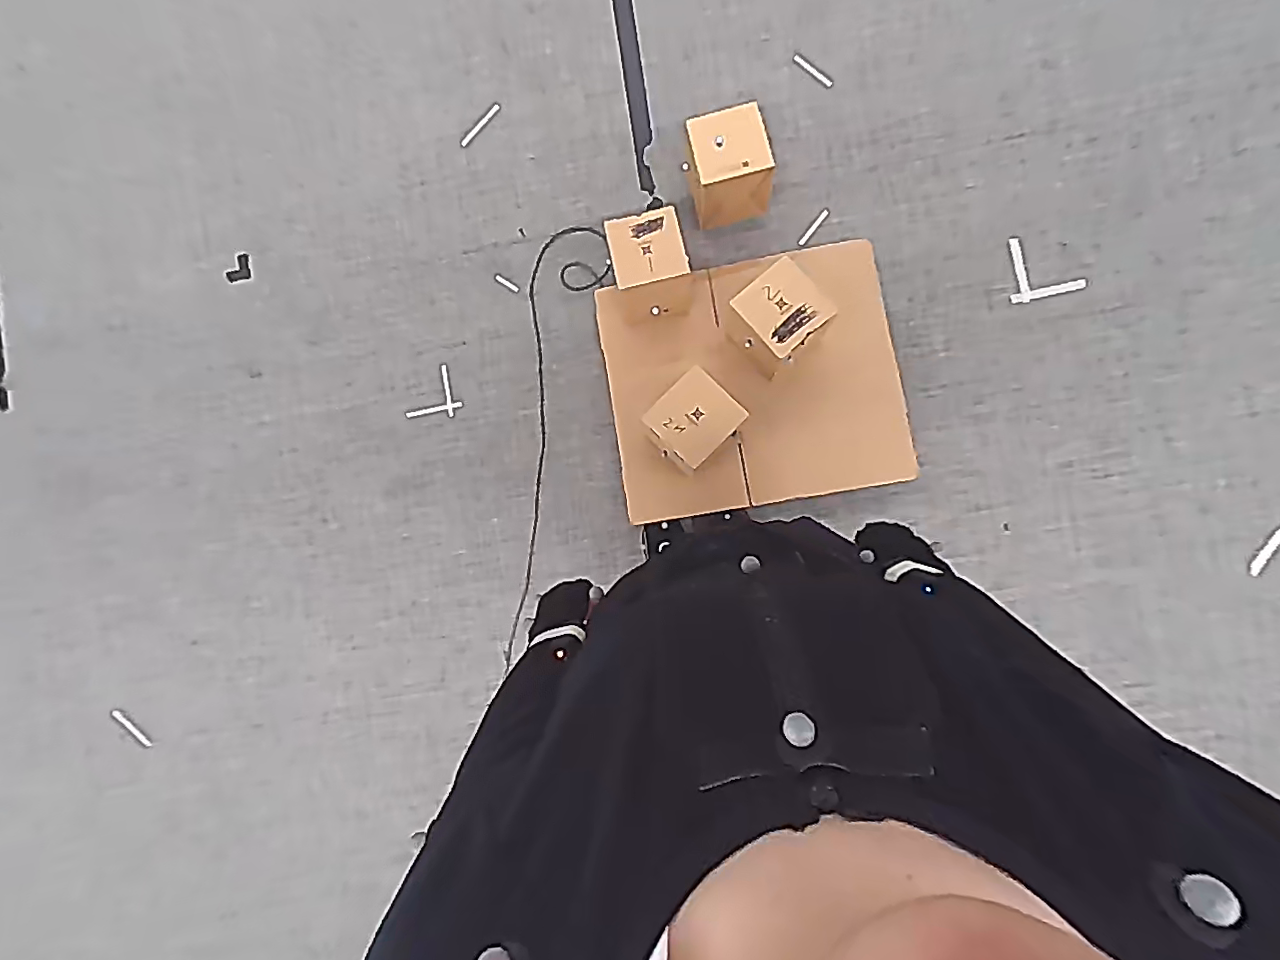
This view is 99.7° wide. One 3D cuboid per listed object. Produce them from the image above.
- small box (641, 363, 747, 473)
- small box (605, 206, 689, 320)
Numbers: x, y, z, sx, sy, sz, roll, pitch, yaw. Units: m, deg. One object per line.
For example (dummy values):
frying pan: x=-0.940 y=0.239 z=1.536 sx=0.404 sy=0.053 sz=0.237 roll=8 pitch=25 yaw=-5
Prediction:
small box: x=0.120 y=-0.136 z=1.255 sx=0.179 sy=0.176 sz=0.168 roll=-45 pitch=83 yaw=-1
small box: x=0.018 y=-0.512 z=1.294 sx=0.168 sy=0.176 sz=0.179 roll=-12 pitch=80 yaw=2
